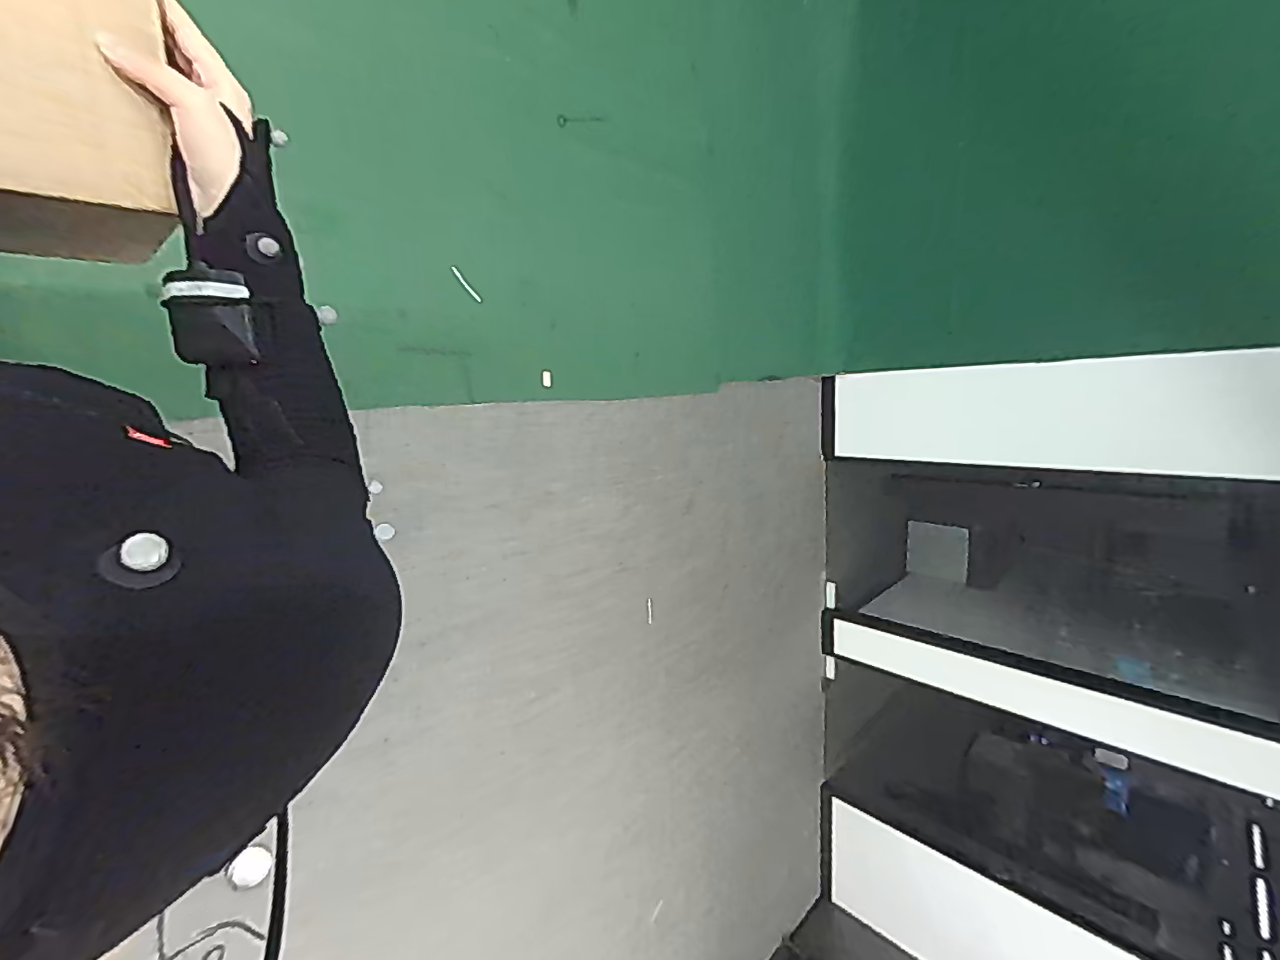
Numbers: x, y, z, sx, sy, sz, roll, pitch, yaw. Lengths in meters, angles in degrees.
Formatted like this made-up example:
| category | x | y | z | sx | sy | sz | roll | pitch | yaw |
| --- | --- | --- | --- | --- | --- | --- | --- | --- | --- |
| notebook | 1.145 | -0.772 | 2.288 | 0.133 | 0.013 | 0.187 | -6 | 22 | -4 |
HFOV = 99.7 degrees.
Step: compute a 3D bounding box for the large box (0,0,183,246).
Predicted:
| category | x | y | z | sx | sy | sz | roll | pitch | yaw |
| --- | --- | --- | --- | --- | --- | --- | --- | --- | --- |
| large box | -0.570 | -0.340 | 0.308 | 0.408 | 0.320 | 0.320 | -13 | 110 | -46 |
